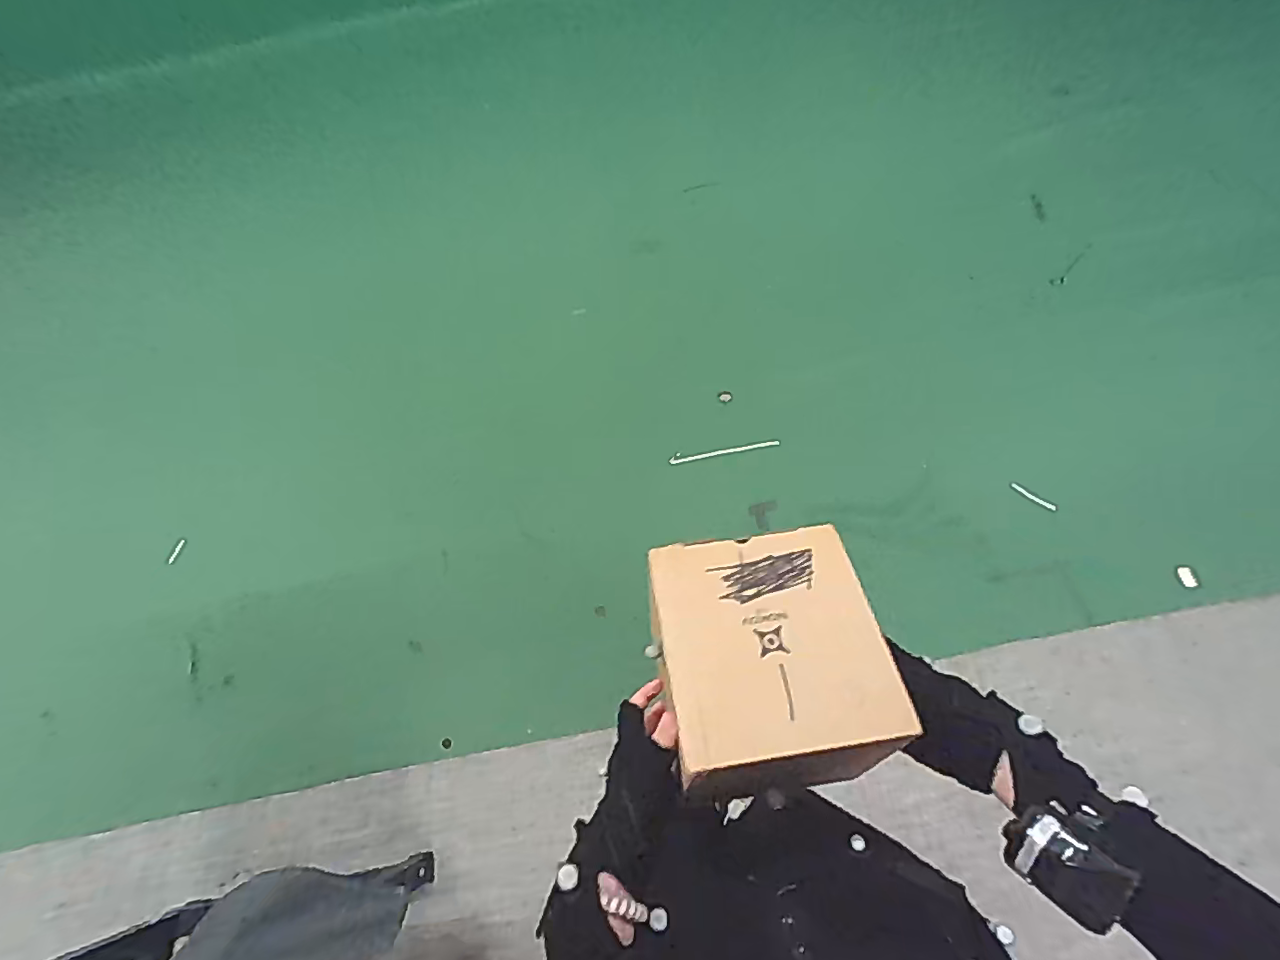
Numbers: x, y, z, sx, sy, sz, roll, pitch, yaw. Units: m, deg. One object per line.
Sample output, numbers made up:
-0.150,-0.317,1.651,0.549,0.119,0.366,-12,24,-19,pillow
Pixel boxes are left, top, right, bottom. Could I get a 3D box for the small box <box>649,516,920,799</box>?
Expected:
0.099,0.156,0.471,0.168,0.176,0.179,-8,52,-3,small box
